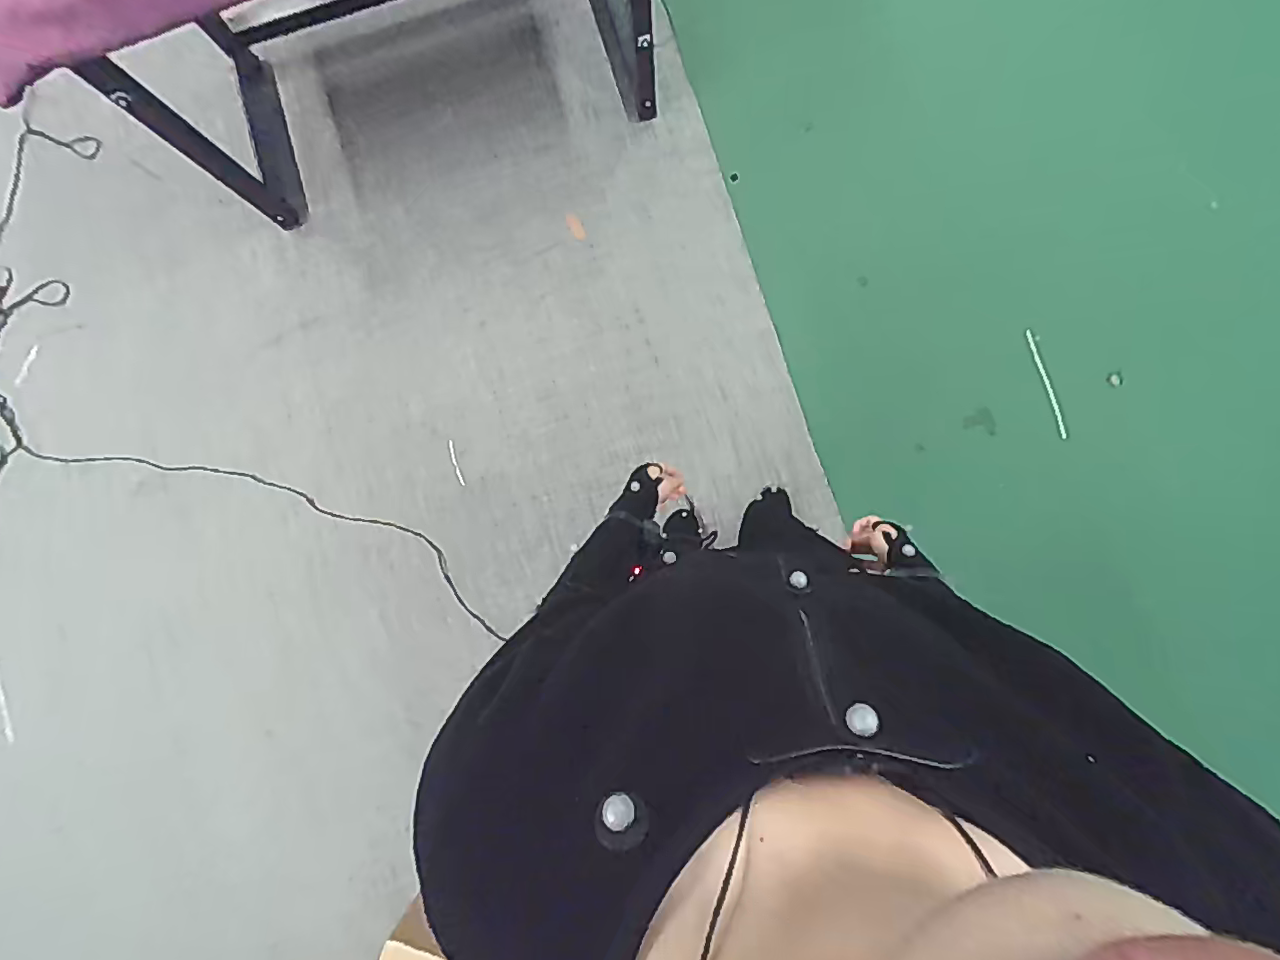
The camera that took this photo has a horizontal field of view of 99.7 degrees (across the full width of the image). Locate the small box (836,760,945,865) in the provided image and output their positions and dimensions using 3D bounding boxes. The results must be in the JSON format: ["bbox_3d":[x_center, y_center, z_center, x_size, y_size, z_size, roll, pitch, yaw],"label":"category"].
[{"bbox_3d":[0.511,0.680,1.056,0.168,0.176,0.179,-26,84,1],"label":"small box"}]
